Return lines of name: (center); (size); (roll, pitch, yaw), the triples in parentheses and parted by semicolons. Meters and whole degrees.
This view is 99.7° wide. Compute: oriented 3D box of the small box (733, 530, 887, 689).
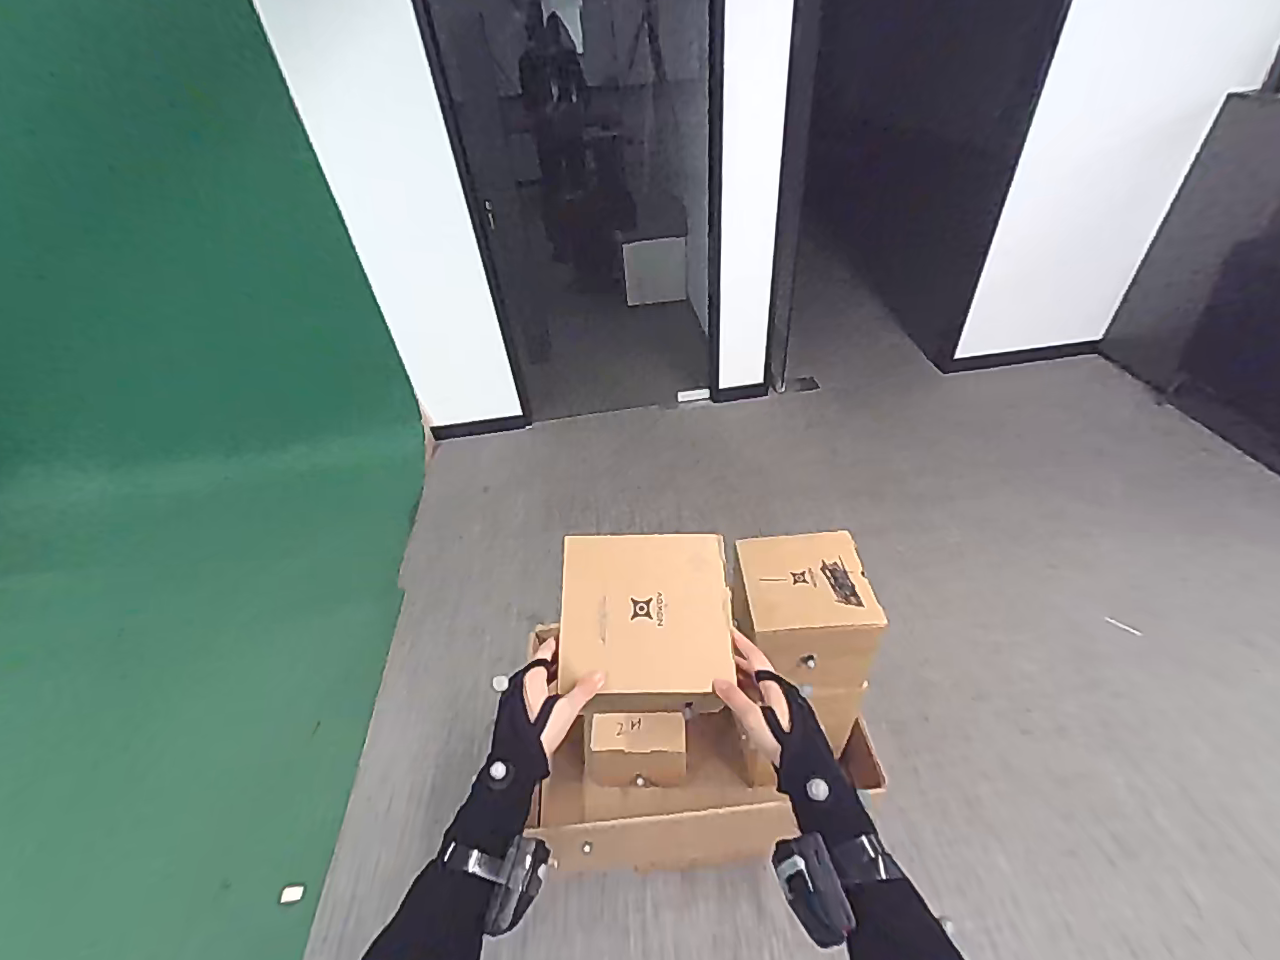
small box: (0.239, 0.196, 0.811); (0.179, 0.176, 0.168); (-5, 41, 3)

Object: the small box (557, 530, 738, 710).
small box: (0.007, 0.166, 0.621); (0.179, 0.176, 0.168); (0, 61, 0)
